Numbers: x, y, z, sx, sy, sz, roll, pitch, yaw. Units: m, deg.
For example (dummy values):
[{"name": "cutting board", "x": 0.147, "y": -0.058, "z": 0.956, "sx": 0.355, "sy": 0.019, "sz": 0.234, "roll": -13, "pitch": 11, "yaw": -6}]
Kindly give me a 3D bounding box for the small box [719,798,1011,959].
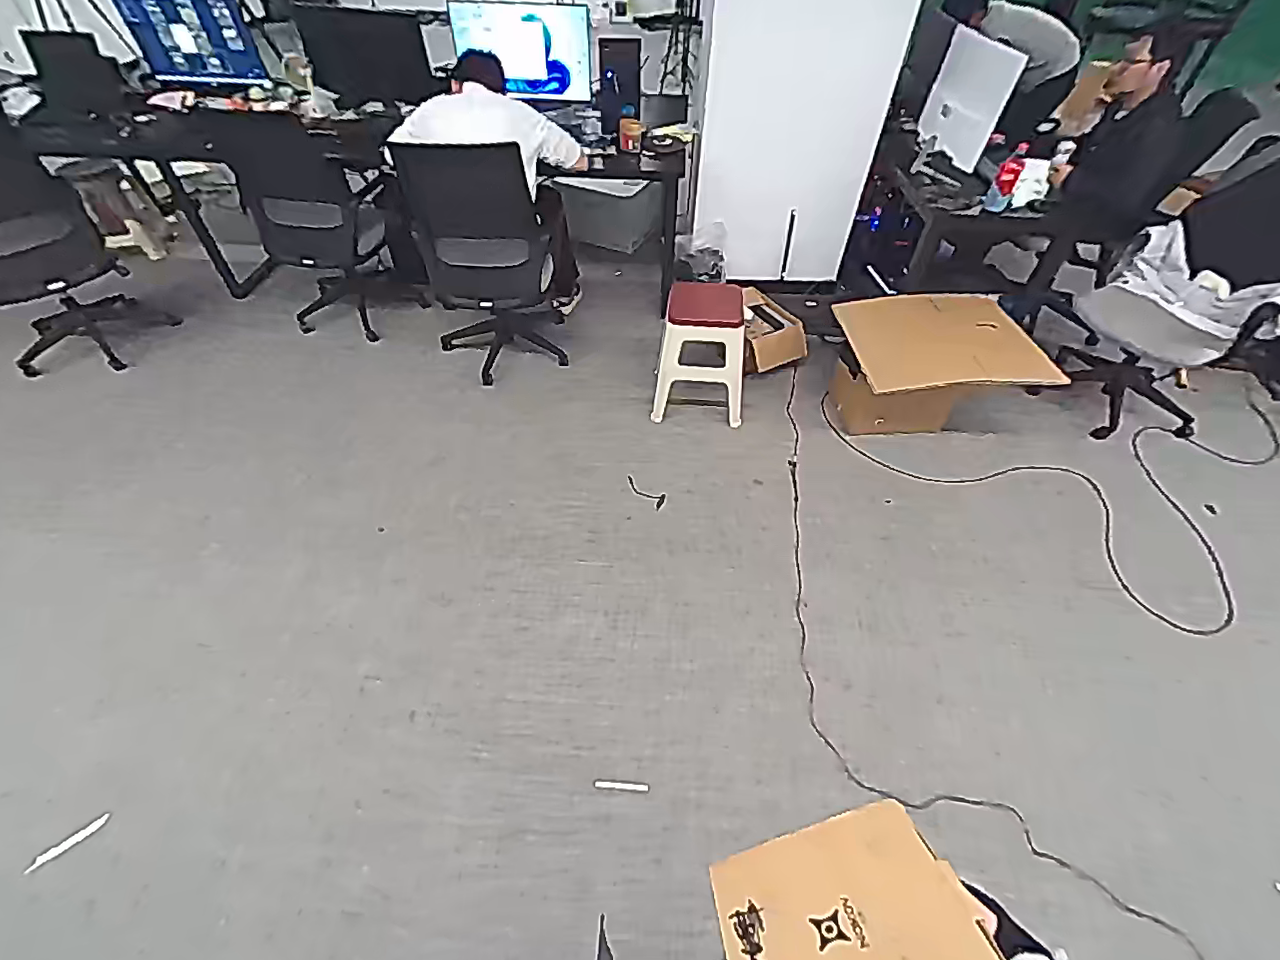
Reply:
[{"name": "small box", "x": 0.181, "y": 0.399, "z": 0.416, "sx": 0.179, "sy": 0.176, "sz": 0.168, "roll": -21, "pitch": 11, "yaw": 1}]
